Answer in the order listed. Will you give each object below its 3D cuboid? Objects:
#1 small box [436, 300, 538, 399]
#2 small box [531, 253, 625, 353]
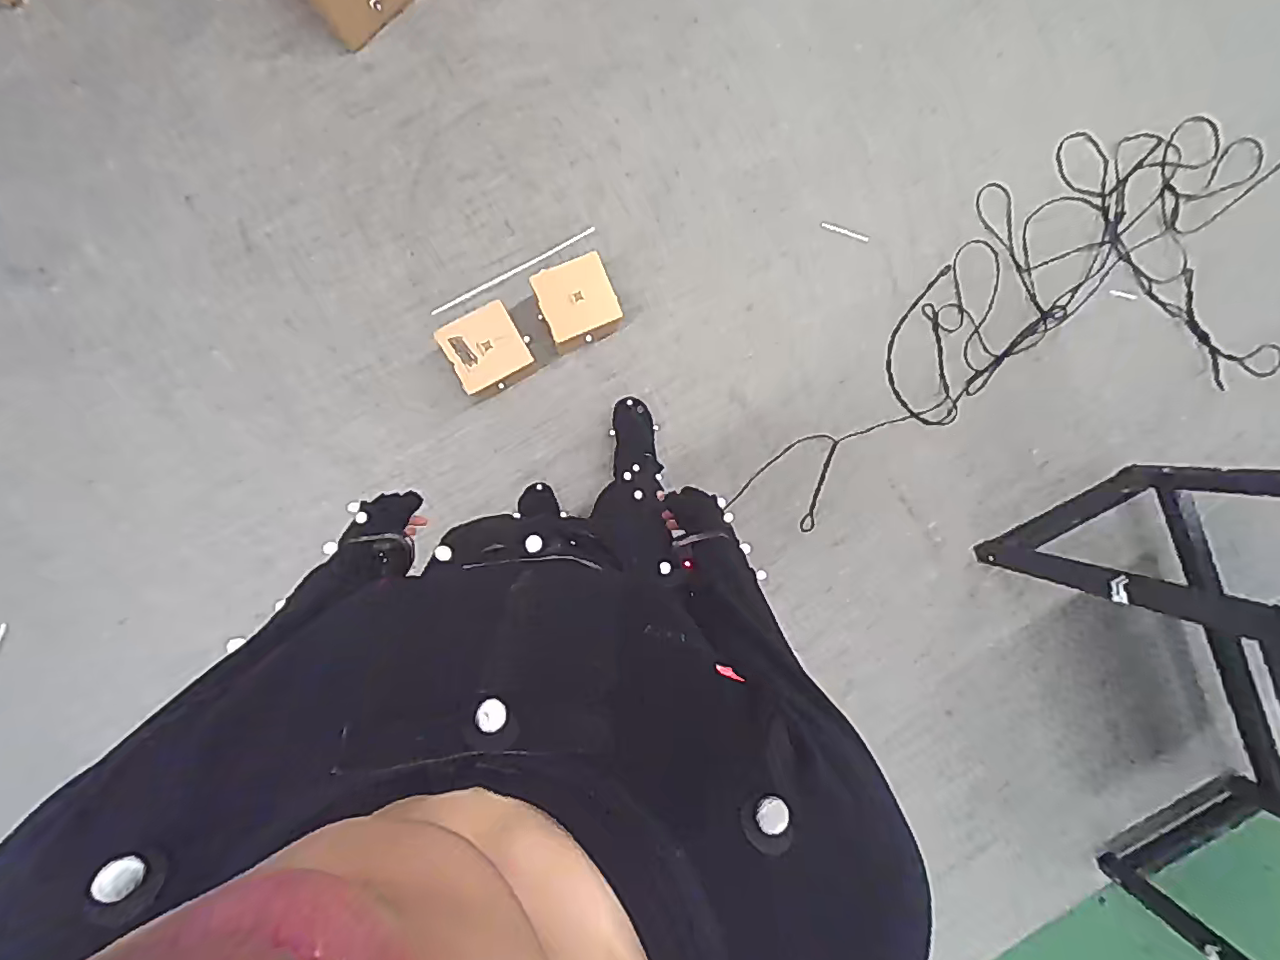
[{"bbox_3d":[-0.366,-0.311,1.332,0.179,0.176,0.168,-29,97,-4],"label":"small box"},{"bbox_3d":[-0.154,-0.432,1.347,0.179,0.176,0.168,-24,96,-3],"label":"small box"}]
